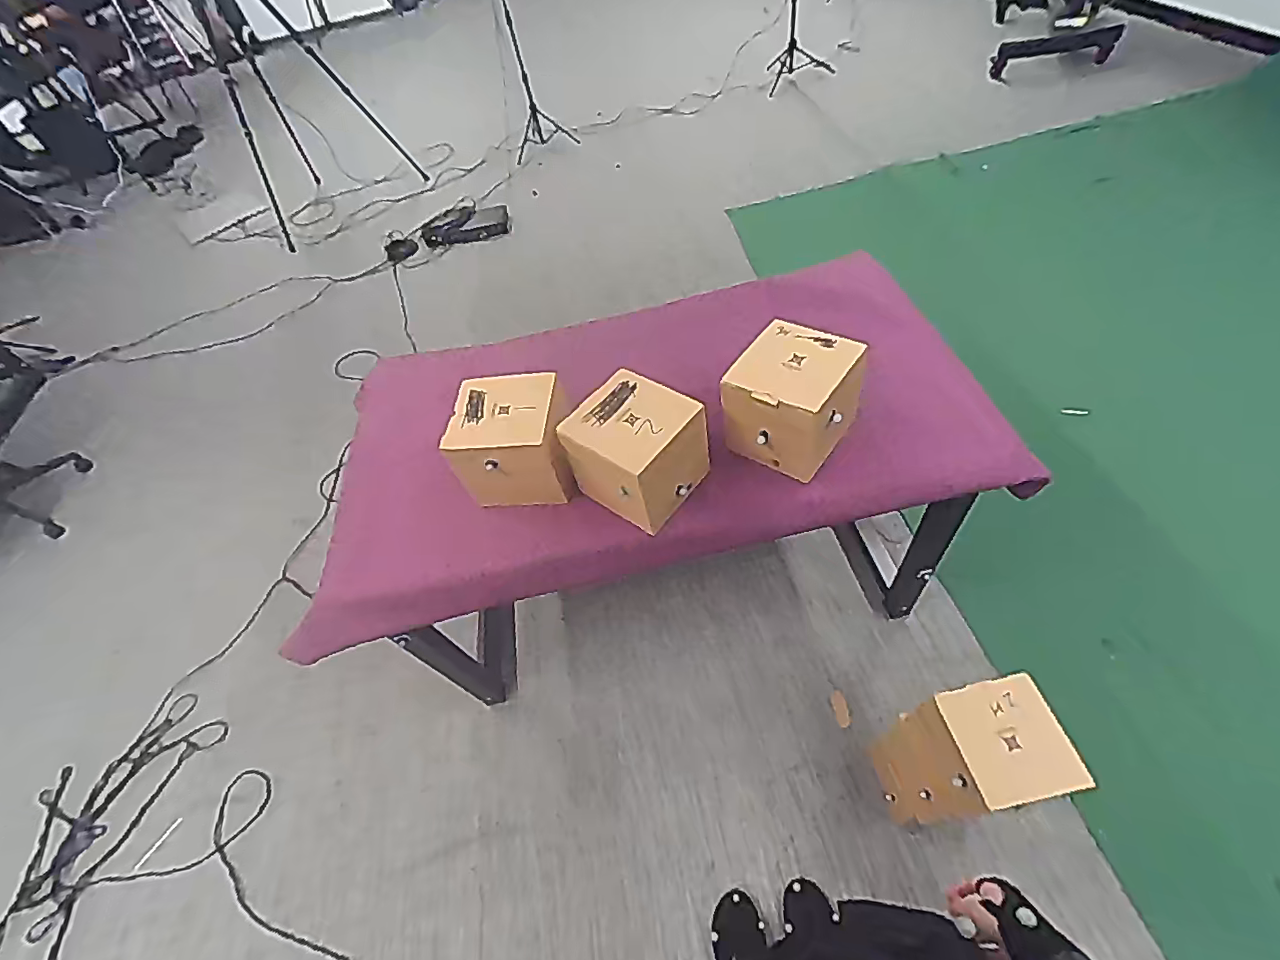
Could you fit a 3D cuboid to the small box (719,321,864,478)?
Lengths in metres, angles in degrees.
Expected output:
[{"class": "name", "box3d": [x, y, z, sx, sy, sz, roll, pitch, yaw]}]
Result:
[{"class": "small box", "box3d": [0.254, -0.133, 0.916, 0.168, 0.176, 0.179, 28, 64, 29]}]

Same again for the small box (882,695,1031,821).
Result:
[{"class": "small box", "box3d": [0.601, 0.547, 1.058, 0.168, 0.176, 0.179, -14, 54, 0]}]

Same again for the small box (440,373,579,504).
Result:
[{"class": "small box", "box3d": [-0.220, -0.068, 0.963, 0.179, 0.176, 0.168, -2, 54, 8]}]

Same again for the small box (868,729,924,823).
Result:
[{"class": "small box", "box3d": [0.620, 0.641, 1.188, 0.179, 0.176, 0.168, -12, 53, 1]}]
